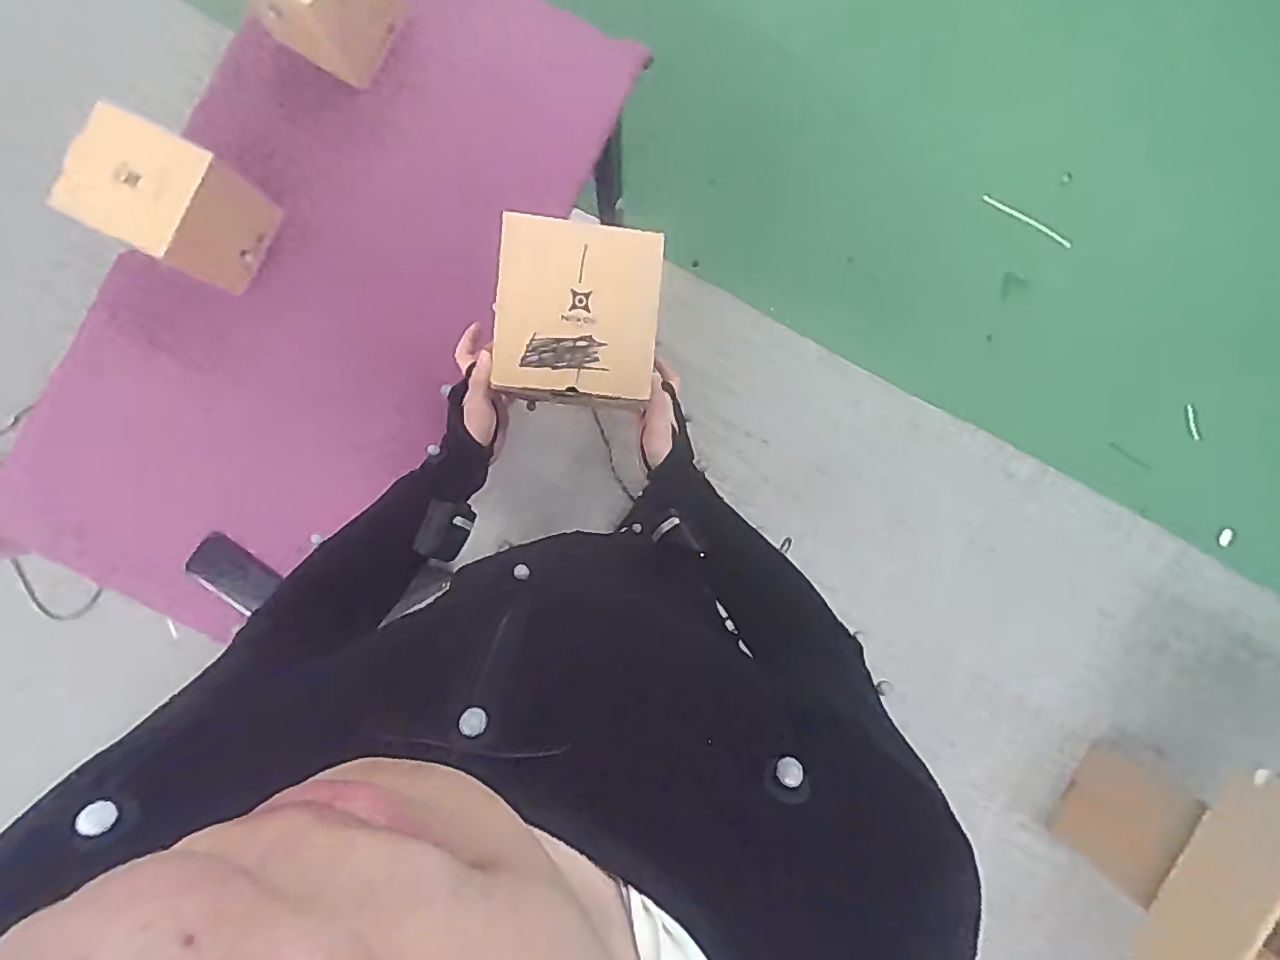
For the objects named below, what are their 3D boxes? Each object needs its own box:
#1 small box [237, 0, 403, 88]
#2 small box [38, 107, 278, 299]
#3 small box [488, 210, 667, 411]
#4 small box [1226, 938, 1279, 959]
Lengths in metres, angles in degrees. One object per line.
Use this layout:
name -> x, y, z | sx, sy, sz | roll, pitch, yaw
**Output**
small box -> -0.506, -0.758, 0.828 | 0.179, 0.176, 0.168 | 29, 89, 0
small box -> -0.708, -0.400, 0.817 | 0.179, 0.176, 0.168 | 26, 89, -2
small box -> -0.070, -0.176, 0.618 | 0.168, 0.176, 0.179 | 5, 93, -7
small box -> 1.394, 1.138, 1.142 | 0.179, 0.176, 0.168 | 34, 89, 1
